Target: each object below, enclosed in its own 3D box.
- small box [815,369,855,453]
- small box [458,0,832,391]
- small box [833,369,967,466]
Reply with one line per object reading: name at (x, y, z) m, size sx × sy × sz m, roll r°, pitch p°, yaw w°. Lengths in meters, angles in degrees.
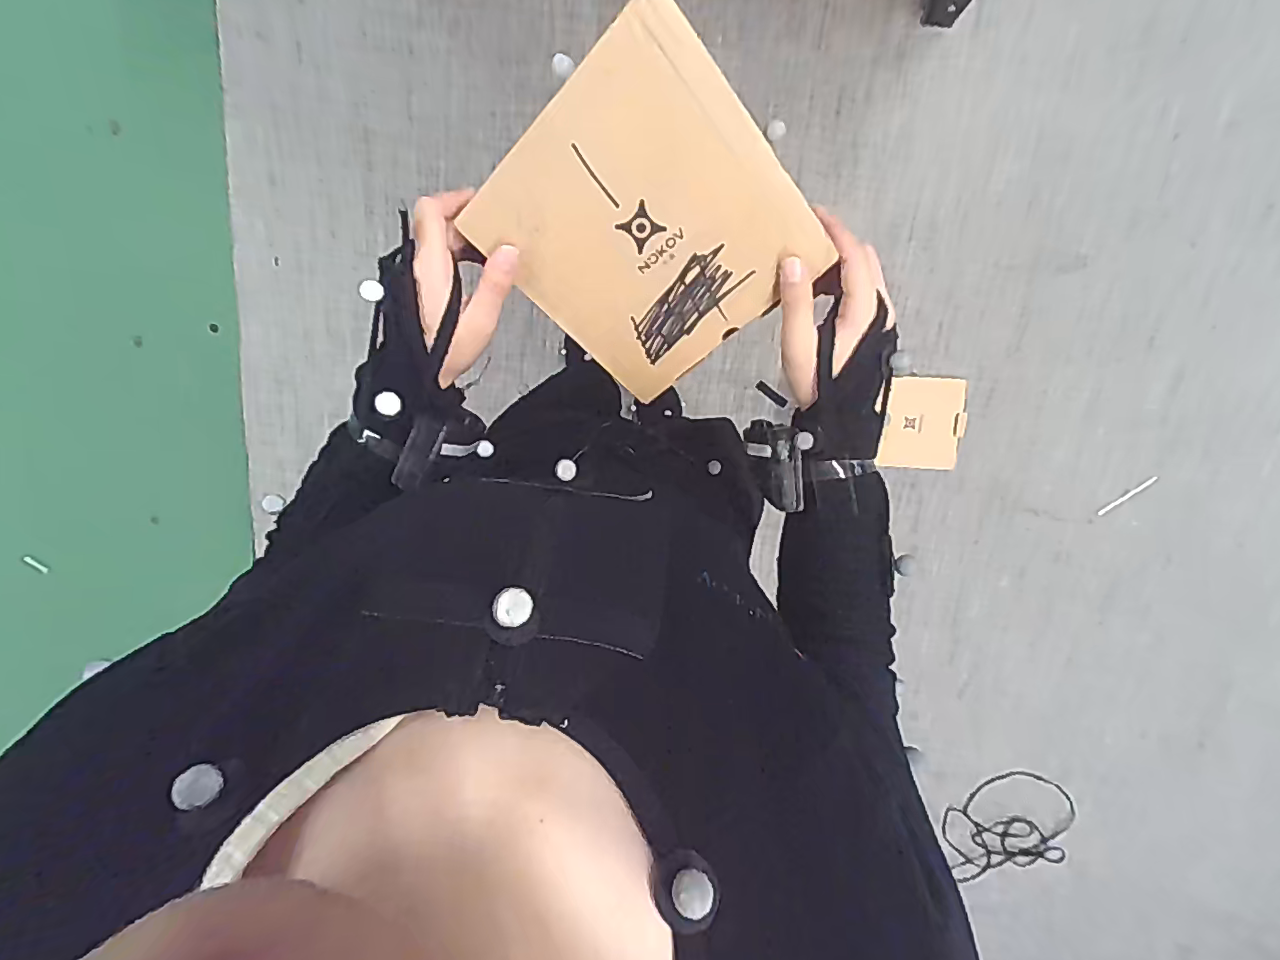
small box at (0.499, -0.157, 1.210) m, size 0.168 × 0.176 × 0.179 m, roll 3°, pitch 104°, yaw 4°
small box at (0.008, -0.206, 0.391) m, size 0.168 × 0.176 × 0.179 m, roll -33°, pitch 122°, yaw 27°
small box at (0.492, -0.127, 1.048) m, size 0.179 × 0.176 × 0.168 m, roll 3°, pitch 103°, yaw 5°
